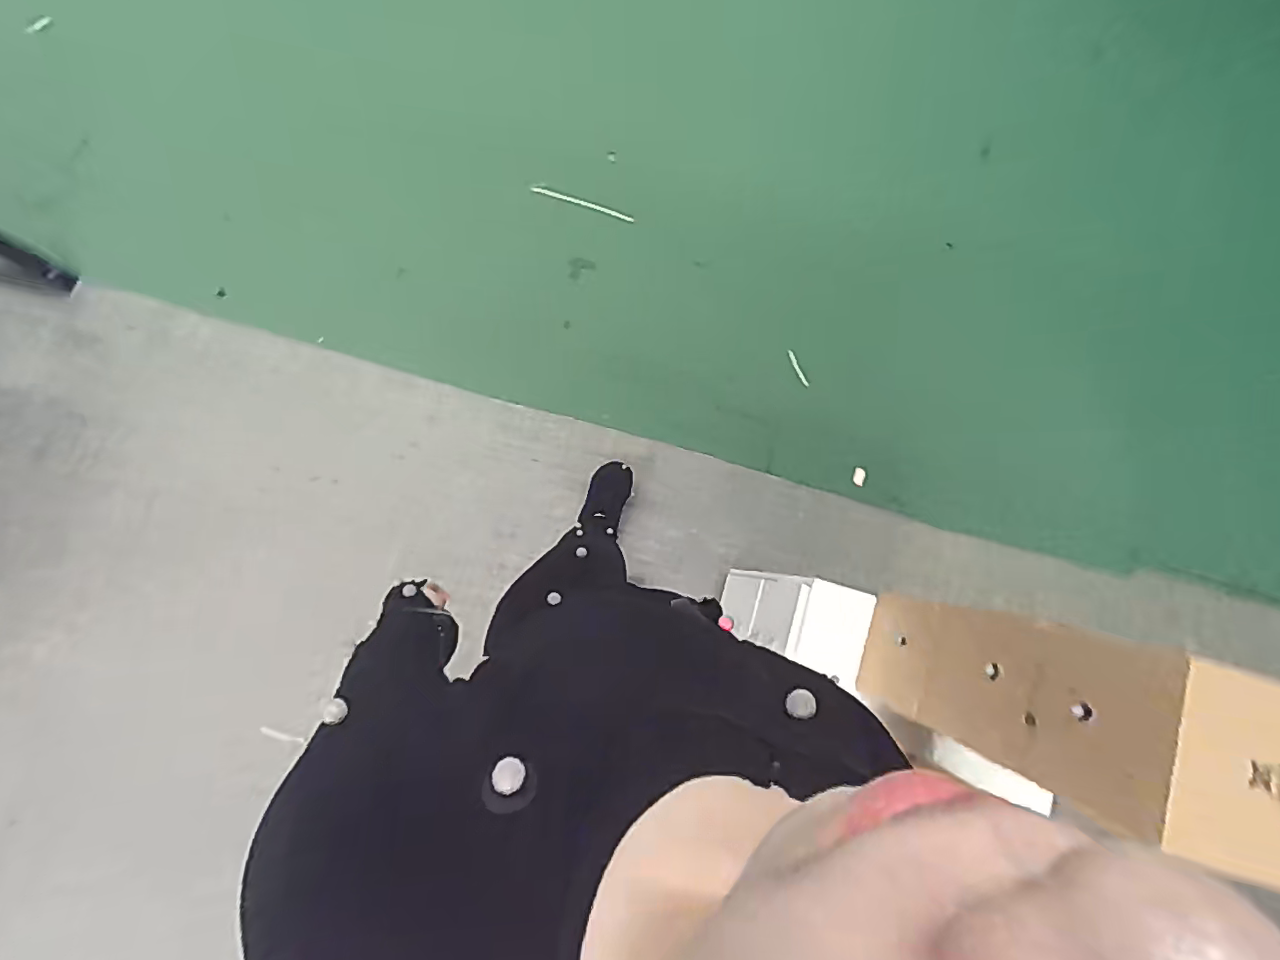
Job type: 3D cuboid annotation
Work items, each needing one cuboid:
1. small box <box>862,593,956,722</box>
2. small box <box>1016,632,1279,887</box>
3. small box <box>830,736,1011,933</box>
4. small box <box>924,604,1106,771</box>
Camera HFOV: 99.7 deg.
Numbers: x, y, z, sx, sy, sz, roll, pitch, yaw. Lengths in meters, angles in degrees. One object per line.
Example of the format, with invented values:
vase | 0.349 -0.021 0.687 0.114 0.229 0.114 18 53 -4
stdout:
small box | 0.481 0.290 0.861 0.168 0.176 0.179 18 83 -3
small box | 0.521 0.260 0.534 0.179 0.176 0.168 18 83 -3
small box | 0.413 0.523 0.824 0.168 0.176 0.179 19 79 -4
small box | 0.502 0.271 0.698 0.168 0.176 0.179 18 83 -3
